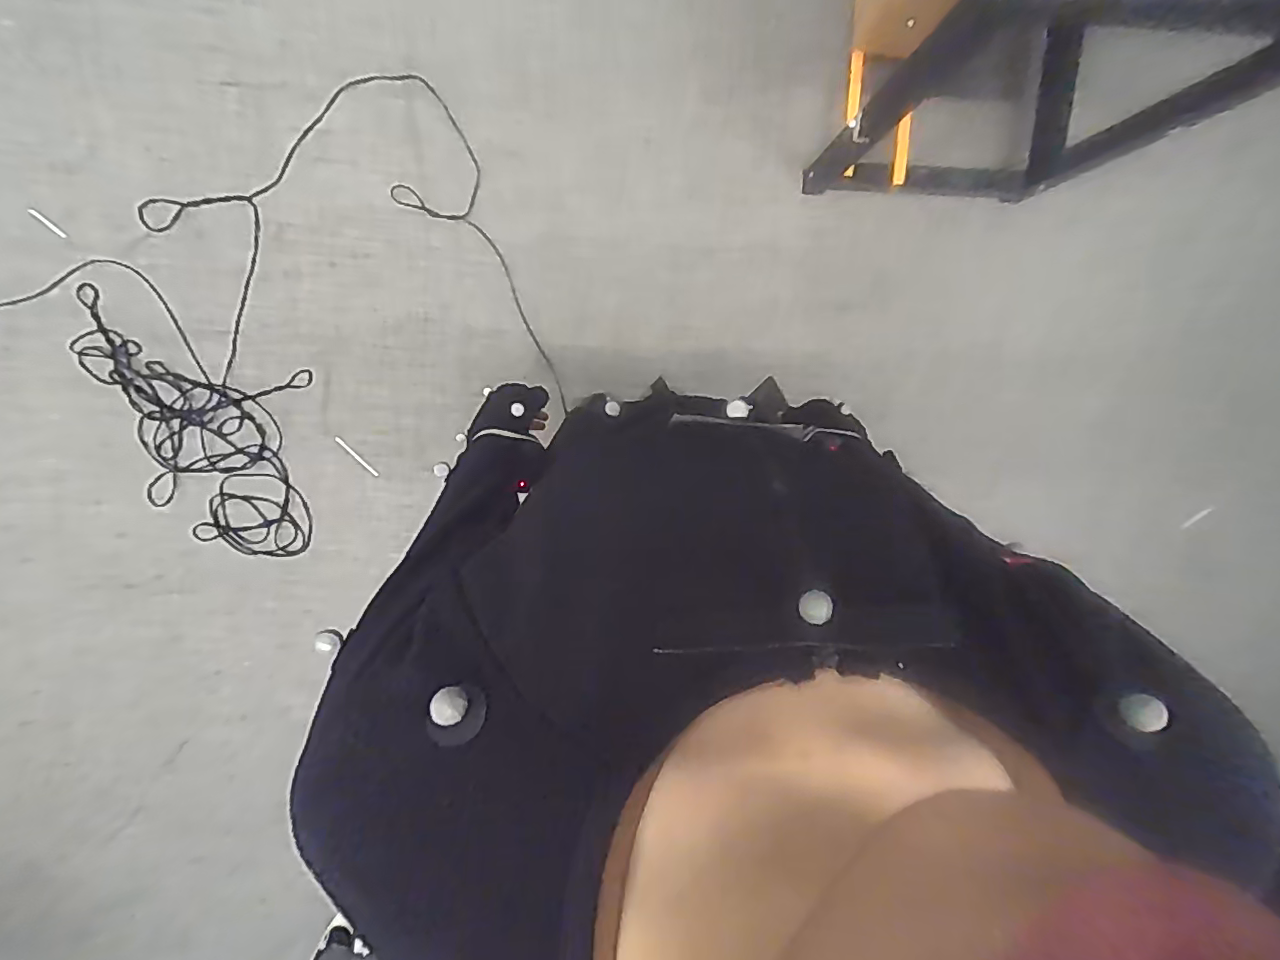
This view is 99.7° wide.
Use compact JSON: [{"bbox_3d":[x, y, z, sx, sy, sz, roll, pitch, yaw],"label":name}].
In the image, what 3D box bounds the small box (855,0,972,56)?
[{"bbox_3d":[0.576,-1.033,1.135,0.179,0.176,0.168,5,100,-3],"label":"small box"}]
